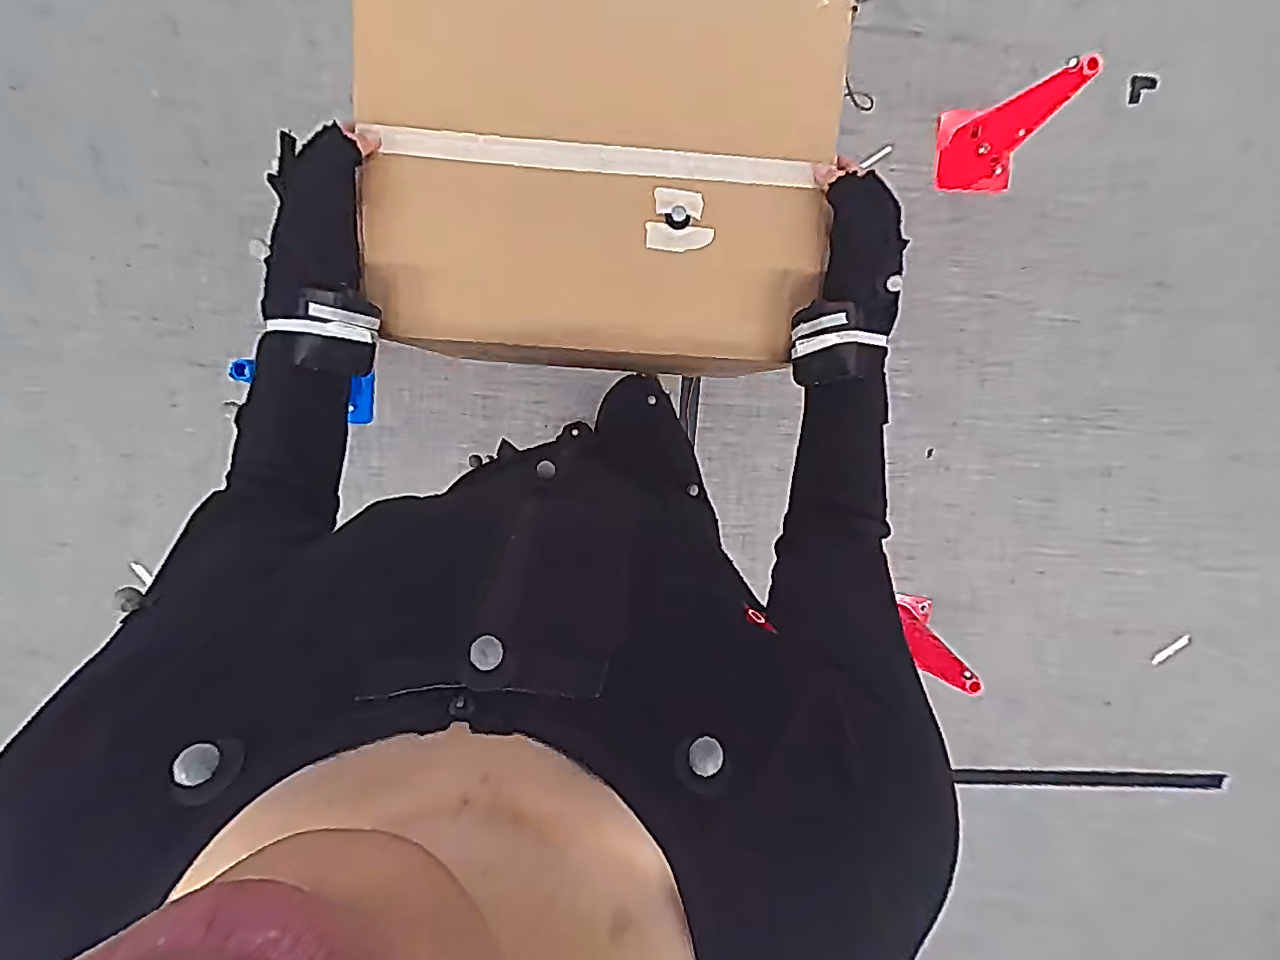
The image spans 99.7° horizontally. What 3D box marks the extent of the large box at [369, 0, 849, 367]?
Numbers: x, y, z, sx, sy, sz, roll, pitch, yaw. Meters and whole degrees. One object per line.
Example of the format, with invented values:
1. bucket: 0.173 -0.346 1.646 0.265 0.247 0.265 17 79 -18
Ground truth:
1. large box: -0.038 -0.301 0.610 0.408 0.320 0.320 3 99 -5

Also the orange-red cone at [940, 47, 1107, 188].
1. orange-red cone: 0.889 -0.854 1.237 0.198 0.360 0.199 1 95 -4

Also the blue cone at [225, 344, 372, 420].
1. blue cone: -0.790 -0.235 1.242 0.192 0.380 0.193 7 96 -2
